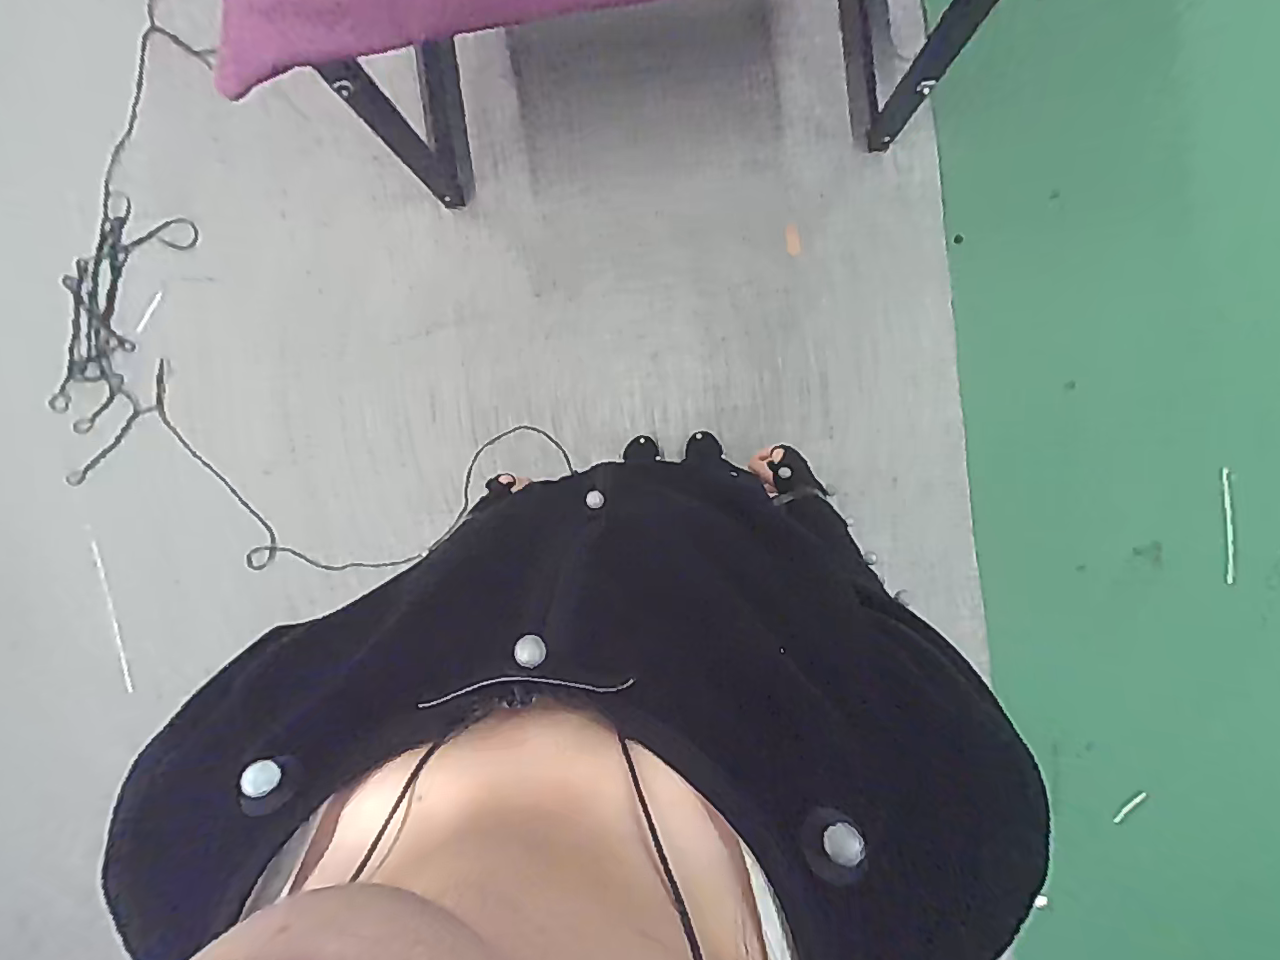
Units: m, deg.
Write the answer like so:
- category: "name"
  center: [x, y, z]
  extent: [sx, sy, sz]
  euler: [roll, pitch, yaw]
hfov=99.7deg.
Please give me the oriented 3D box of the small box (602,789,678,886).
- category: "small box"
  center: [-0.003, 0.975, 1.466]
  extent: [0.179, 0.176, 0.168]
  euler: [-17, 92, 5]

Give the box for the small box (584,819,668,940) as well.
- category: "small box"
  center: [-0.026, 0.964, 1.303]
  extent: [0.168, 0.176, 0.179]
  euler: [-12, 93, 3]
